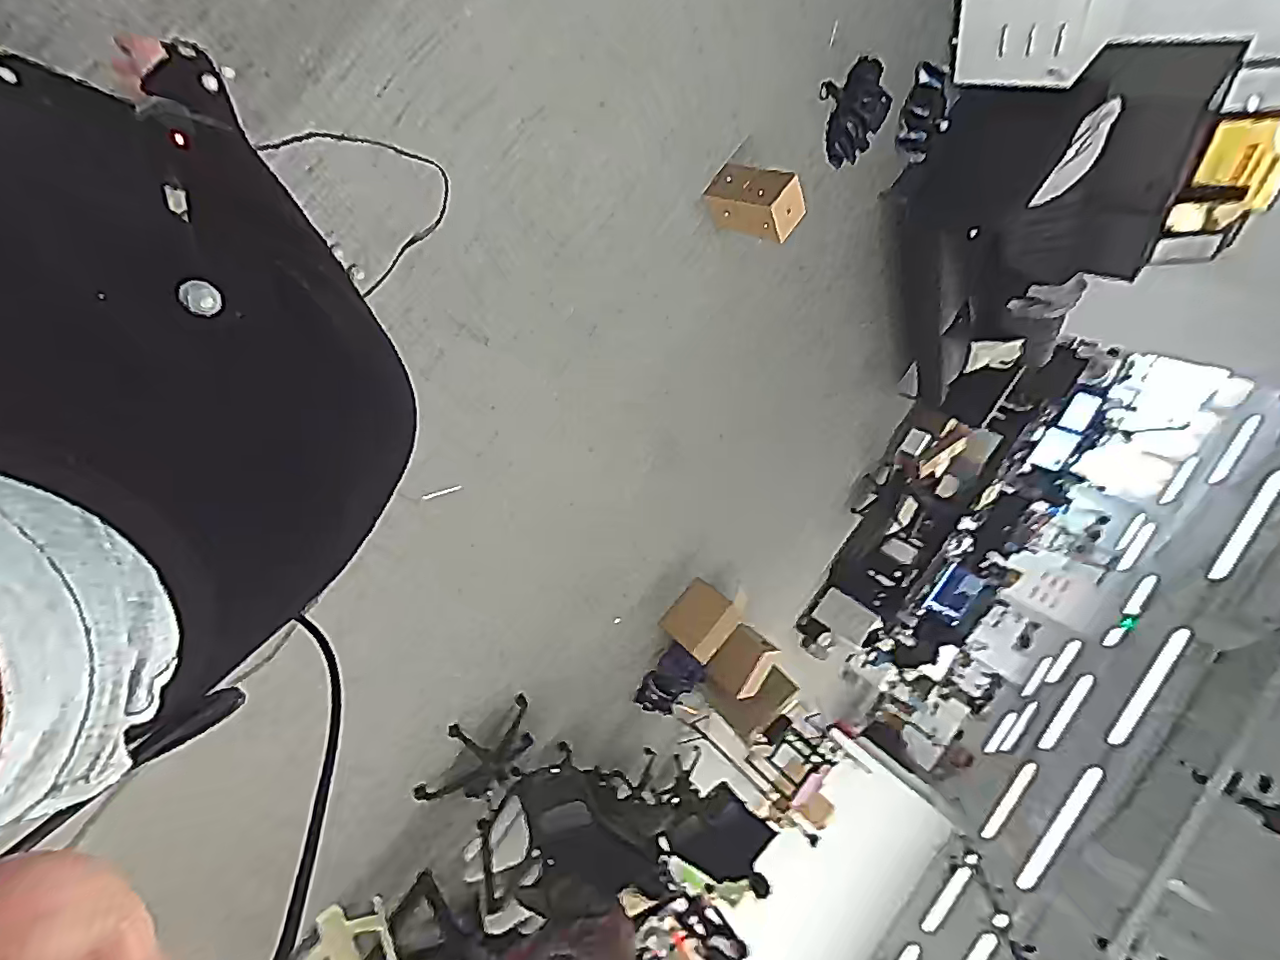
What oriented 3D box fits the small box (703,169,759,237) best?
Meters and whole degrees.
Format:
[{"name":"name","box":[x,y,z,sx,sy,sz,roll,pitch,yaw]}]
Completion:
[{"name":"small box","box":[0.377,-1.099,2.138,0.168,0.176,0.179,-55,144,-4]}]

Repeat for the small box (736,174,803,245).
[{"name":"small box","box":[0.488,-1.027,2.044,0.168,0.176,0.179,-53,145,-4]}]
